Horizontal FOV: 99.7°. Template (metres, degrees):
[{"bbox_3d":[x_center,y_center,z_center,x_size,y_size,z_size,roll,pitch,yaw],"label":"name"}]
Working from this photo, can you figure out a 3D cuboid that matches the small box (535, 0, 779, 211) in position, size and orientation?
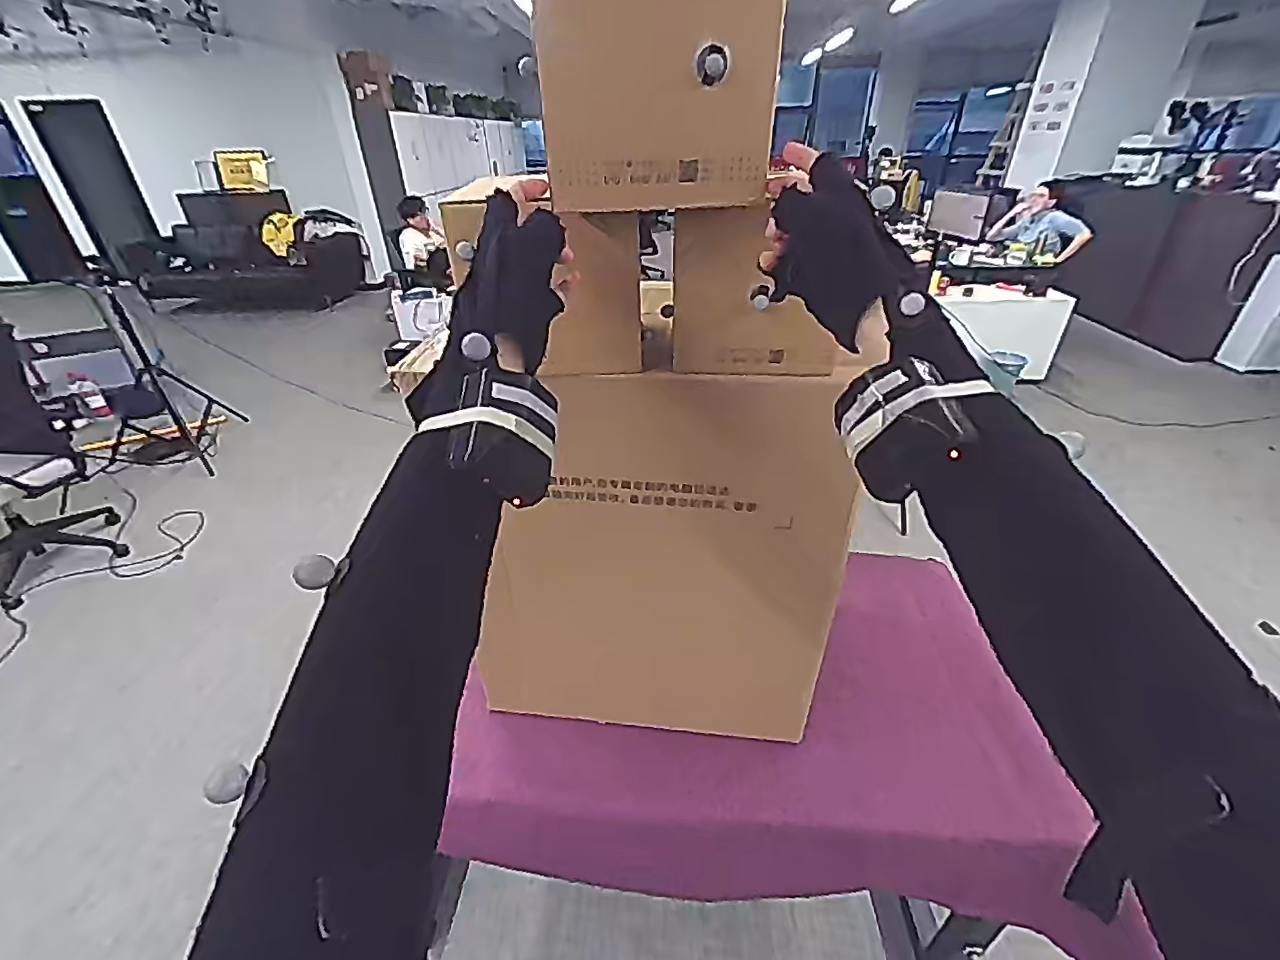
[{"bbox_3d":[0.009,-0.322,0.441,0.168,0.176,0.179,-3,35,-4],"label":"small box"}]

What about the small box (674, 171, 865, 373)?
[{"bbox_3d":[0.123,-0.224,0.580,0.168,0.176,0.179,2,35,5],"label":"small box"}]

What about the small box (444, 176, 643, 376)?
[{"bbox_3d":[-0.084,-0.222,0.584,0.179,0.176,0.168,-2,35,1],"label":"small box"}]
